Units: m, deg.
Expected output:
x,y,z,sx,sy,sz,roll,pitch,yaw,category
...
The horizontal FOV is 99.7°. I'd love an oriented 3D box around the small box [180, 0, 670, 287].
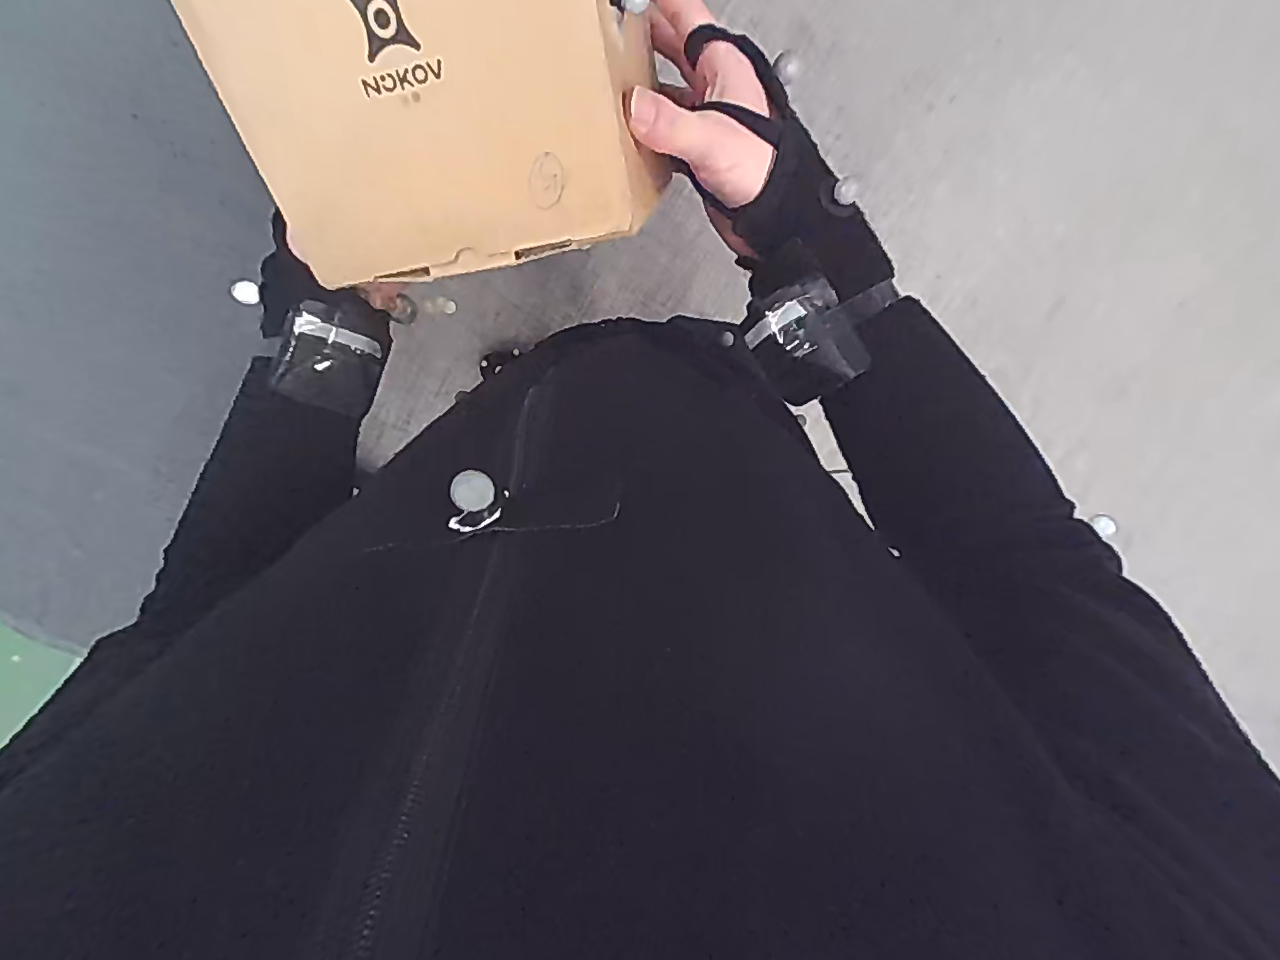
x,y,z,sx,sy,sz,roll,pitch,yaw,category
-0.082,-0.218,0.269,0.168,0.176,0.179,-5,124,12,small box
